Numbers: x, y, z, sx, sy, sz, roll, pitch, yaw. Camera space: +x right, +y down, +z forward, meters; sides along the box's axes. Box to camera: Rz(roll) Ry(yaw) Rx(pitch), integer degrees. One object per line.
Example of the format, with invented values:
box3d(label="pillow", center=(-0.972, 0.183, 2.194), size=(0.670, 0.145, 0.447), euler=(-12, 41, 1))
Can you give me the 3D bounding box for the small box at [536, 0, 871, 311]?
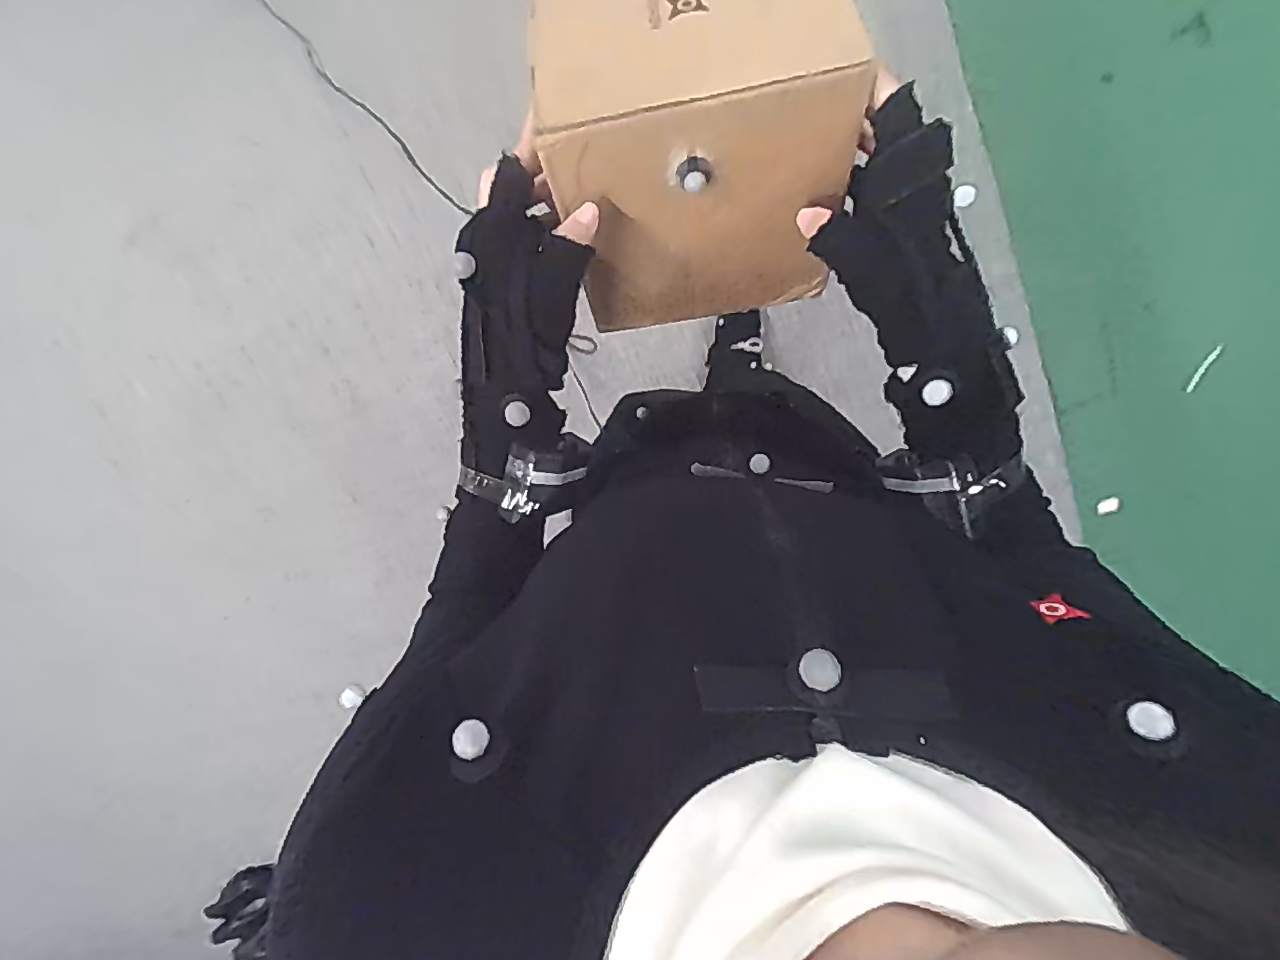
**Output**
box3d(label="small box", center=(0.037, -0.243, 0.382), size=(0.179, 0.176, 0.168), euler=(-8, 66, 5))
